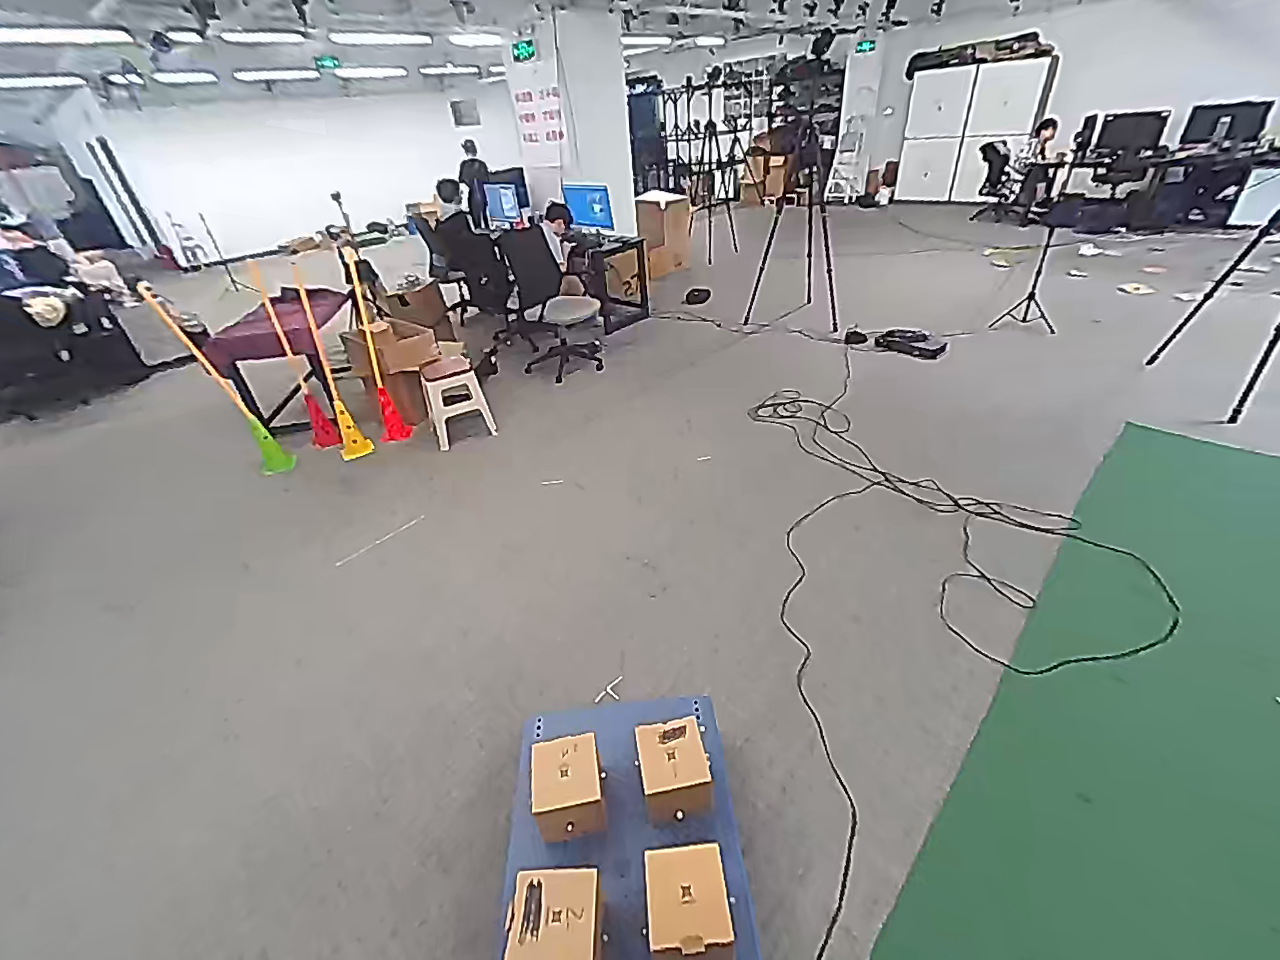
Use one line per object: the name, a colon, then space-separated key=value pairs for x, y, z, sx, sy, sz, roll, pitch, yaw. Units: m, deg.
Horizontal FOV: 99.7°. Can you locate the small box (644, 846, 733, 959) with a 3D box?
small box: x=0.098 y=0.919 z=1.151 sx=0.168 sy=0.176 sz=0.179 roll=-6 pitch=35 yaw=-1

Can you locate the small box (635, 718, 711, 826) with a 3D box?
small box: x=0.082 y=0.751 z=1.395 sx=0.168 sy=0.176 sz=0.179 roll=-9 pitch=35 yaw=-4

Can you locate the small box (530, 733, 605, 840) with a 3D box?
small box: x=-0.184 y=0.786 z=1.379 sx=0.168 sy=0.176 sz=0.179 roll=-8 pitch=34 yaw=-6
